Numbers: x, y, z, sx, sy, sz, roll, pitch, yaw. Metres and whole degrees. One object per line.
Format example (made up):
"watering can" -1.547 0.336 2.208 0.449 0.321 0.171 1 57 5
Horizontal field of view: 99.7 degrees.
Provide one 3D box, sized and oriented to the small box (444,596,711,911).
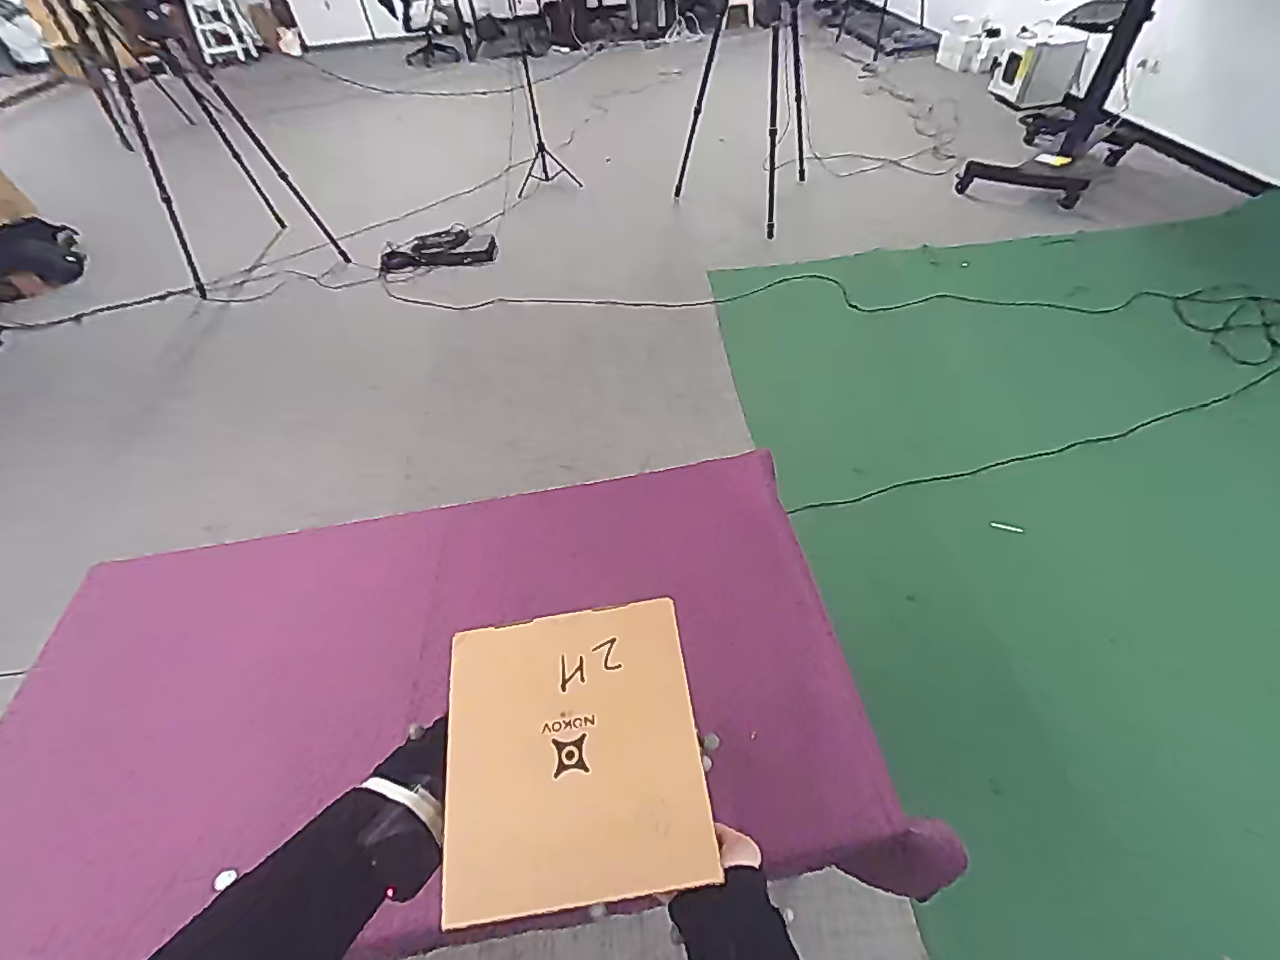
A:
"small box" -0.039 0.214 0.430 0.168 0.176 0.179 -8 56 -1
